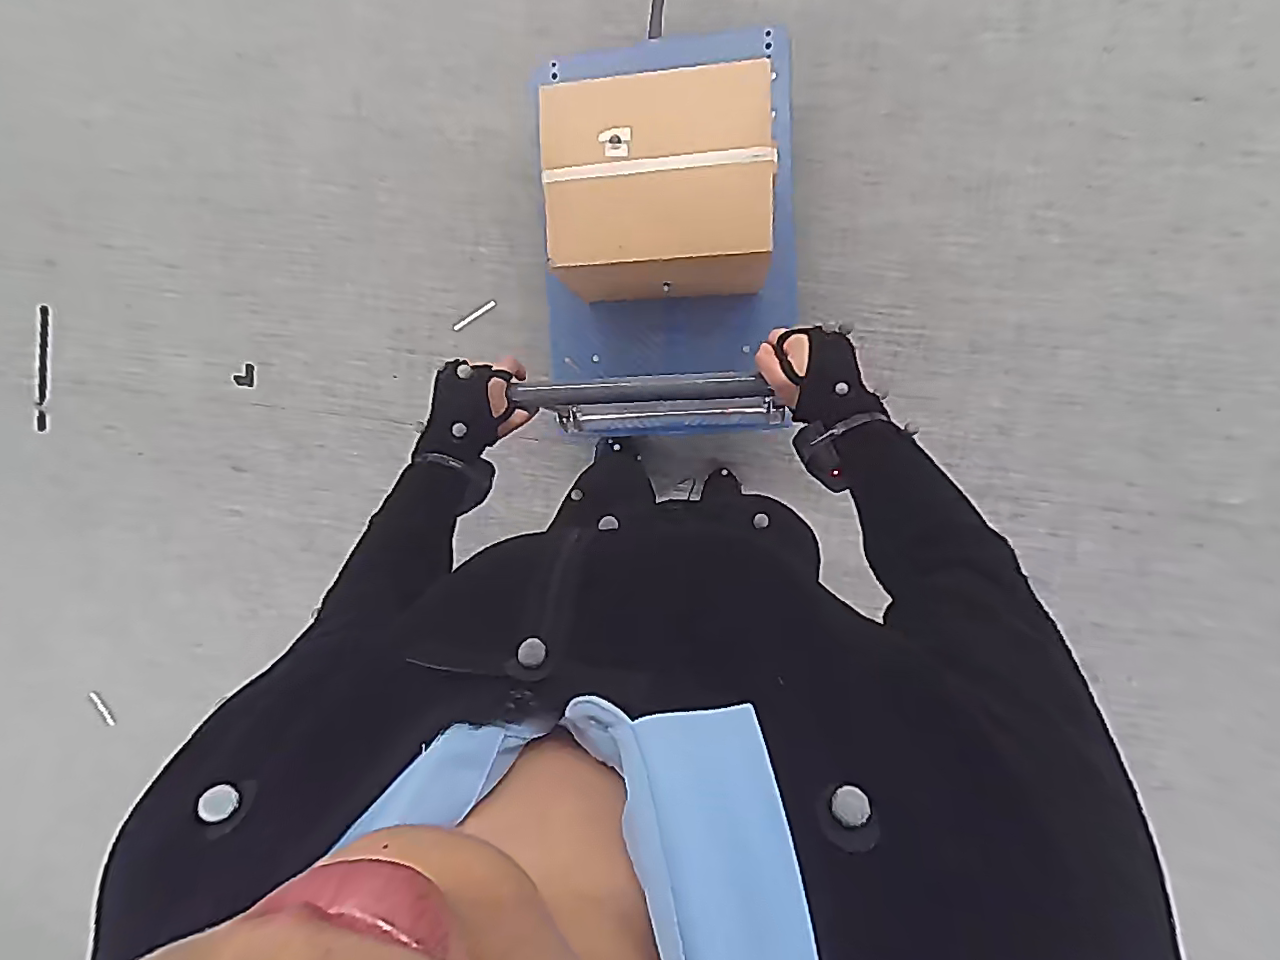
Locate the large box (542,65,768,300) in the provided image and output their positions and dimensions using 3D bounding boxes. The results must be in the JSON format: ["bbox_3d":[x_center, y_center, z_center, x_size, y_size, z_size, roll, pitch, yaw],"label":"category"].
[{"bbox_3d":[0.047,-0.569,1.113,0.408,0.320,0.320,-1,95,9],"label":"large box"}]
